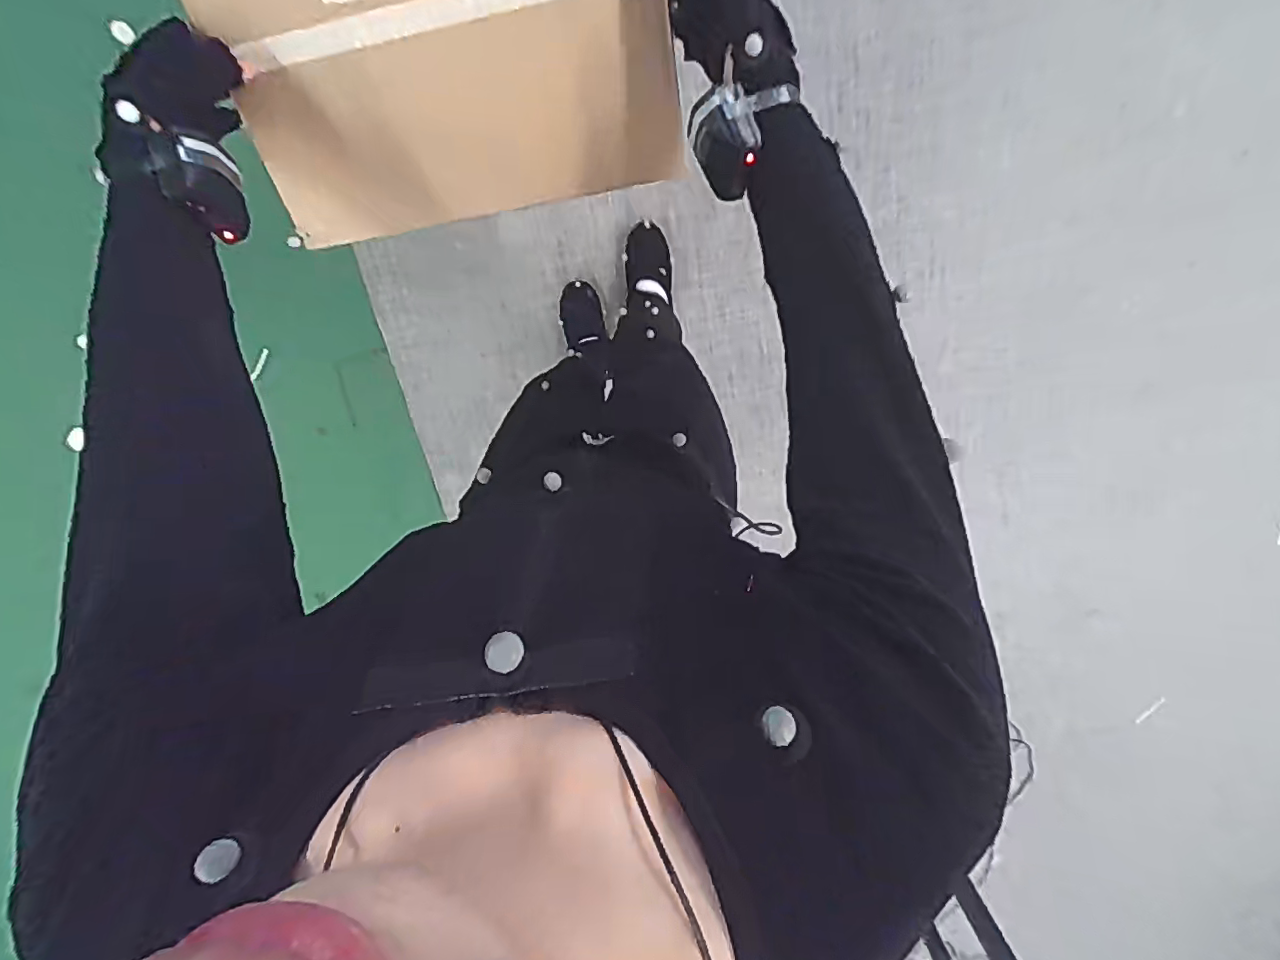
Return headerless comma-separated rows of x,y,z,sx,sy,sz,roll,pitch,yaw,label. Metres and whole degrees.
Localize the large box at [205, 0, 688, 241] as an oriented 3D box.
-0.173,-0.493,0.595,0.408,0.320,0.320,-8,123,5,large box
